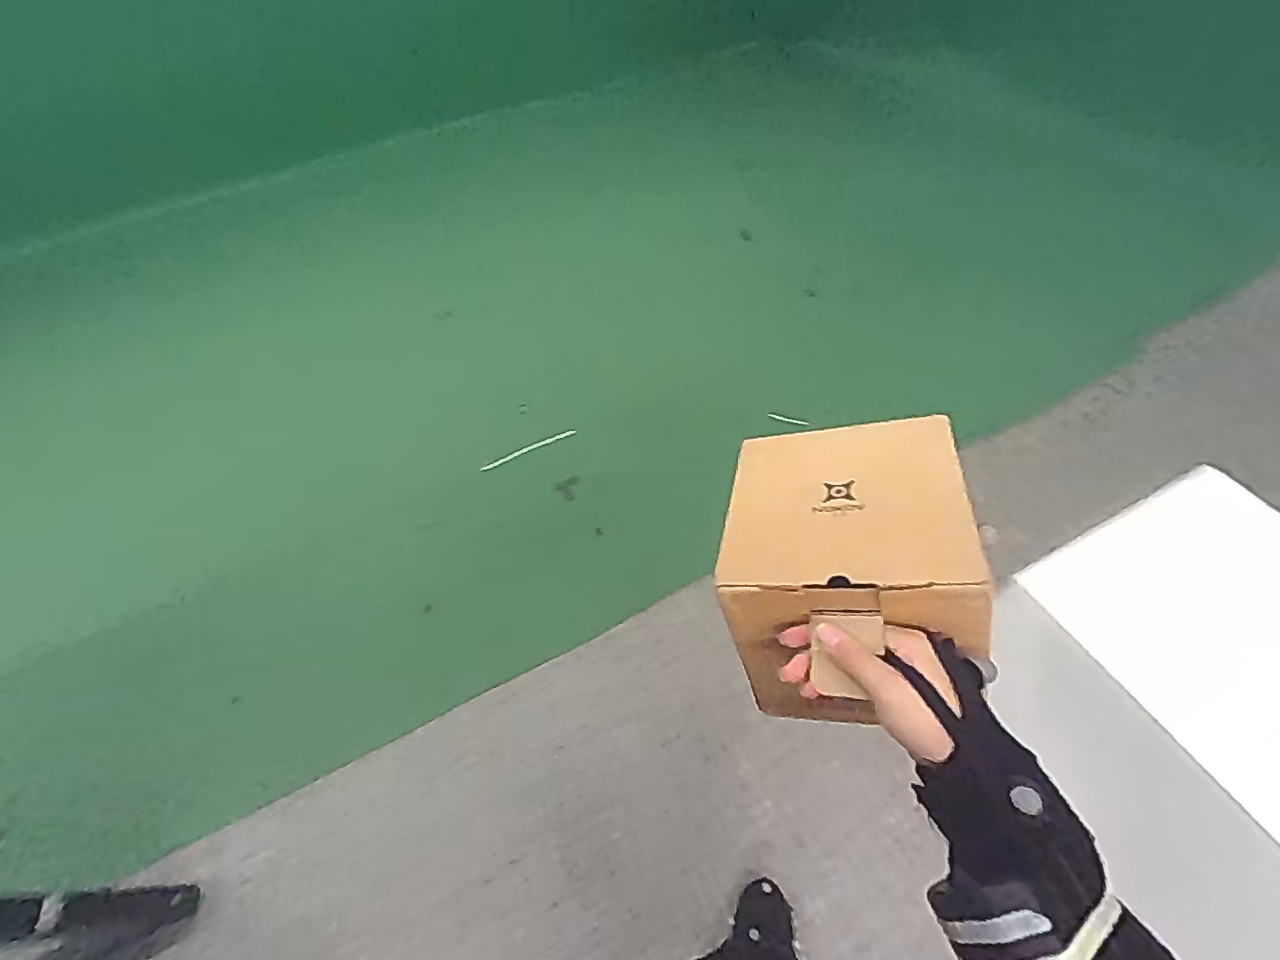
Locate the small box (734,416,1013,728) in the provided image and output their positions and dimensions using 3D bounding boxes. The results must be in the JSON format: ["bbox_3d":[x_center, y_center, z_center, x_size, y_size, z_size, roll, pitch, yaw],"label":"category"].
[{"bbox_3d":[0.186,0.072,0.444,0.168,0.176,0.179,-6,39,24],"label":"small box"}]
